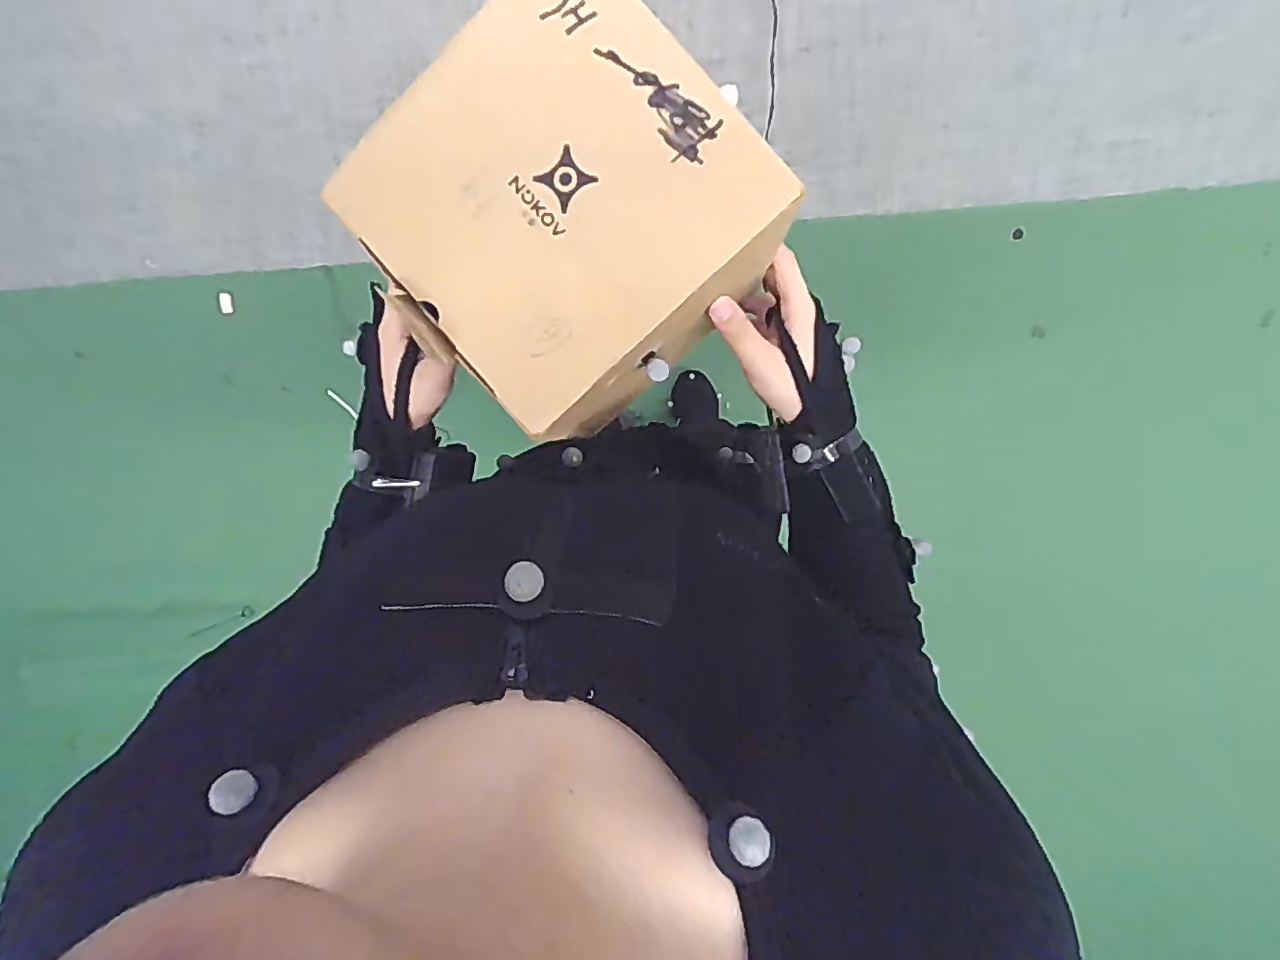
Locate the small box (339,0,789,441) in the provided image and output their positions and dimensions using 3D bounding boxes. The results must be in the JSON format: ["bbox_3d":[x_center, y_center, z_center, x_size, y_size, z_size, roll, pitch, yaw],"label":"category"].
[{"bbox_3d":[-0.033,-0.141,0.347,0.179,0.176,0.168,-41,90,8],"label":"small box"}]
